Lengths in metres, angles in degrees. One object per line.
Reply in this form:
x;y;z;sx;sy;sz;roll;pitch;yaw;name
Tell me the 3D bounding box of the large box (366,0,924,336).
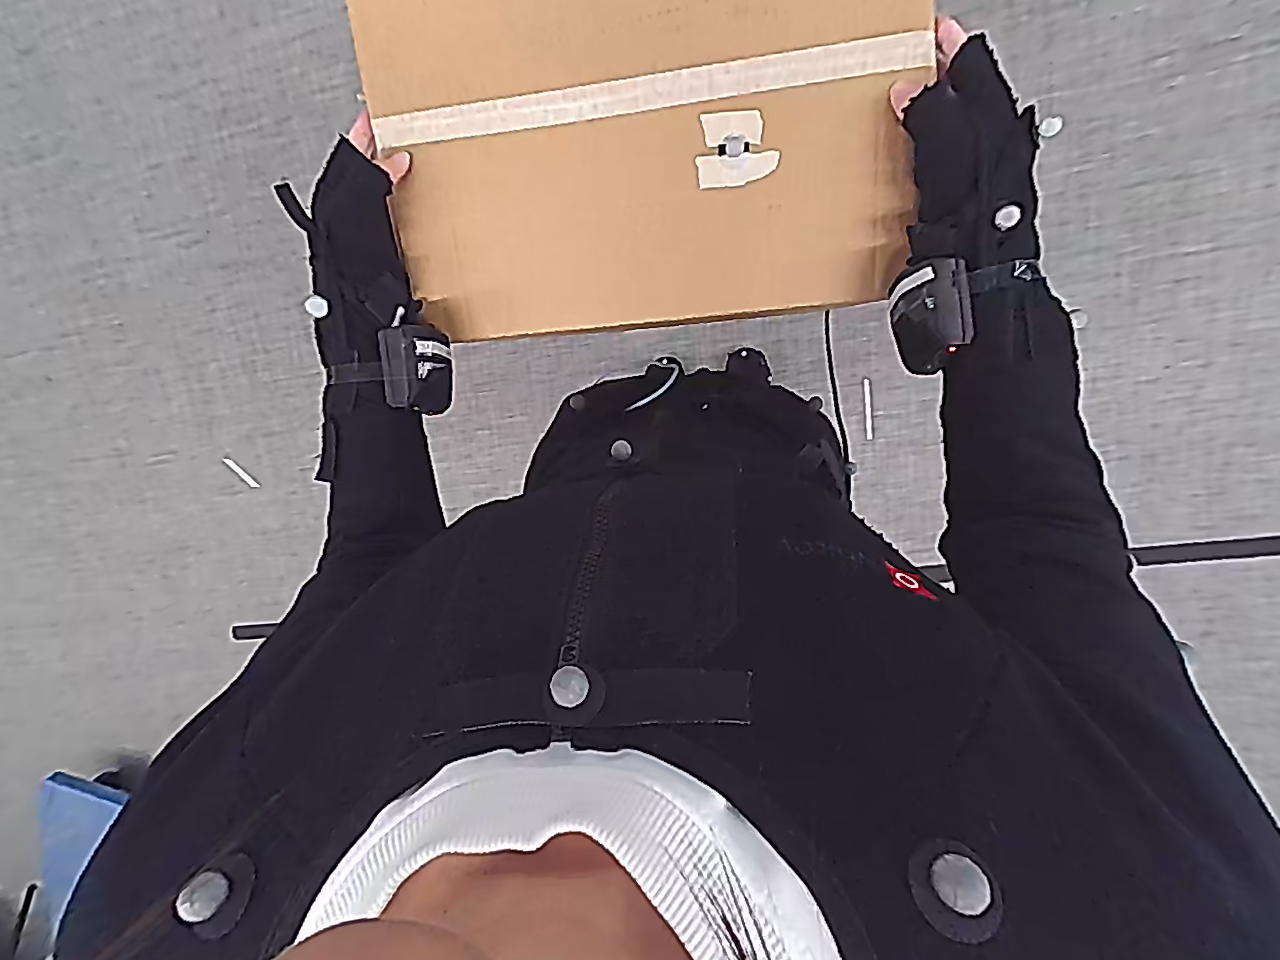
0.013;-0.326;0.545;0.408;0.320;0.320;-4;106;6;large box
